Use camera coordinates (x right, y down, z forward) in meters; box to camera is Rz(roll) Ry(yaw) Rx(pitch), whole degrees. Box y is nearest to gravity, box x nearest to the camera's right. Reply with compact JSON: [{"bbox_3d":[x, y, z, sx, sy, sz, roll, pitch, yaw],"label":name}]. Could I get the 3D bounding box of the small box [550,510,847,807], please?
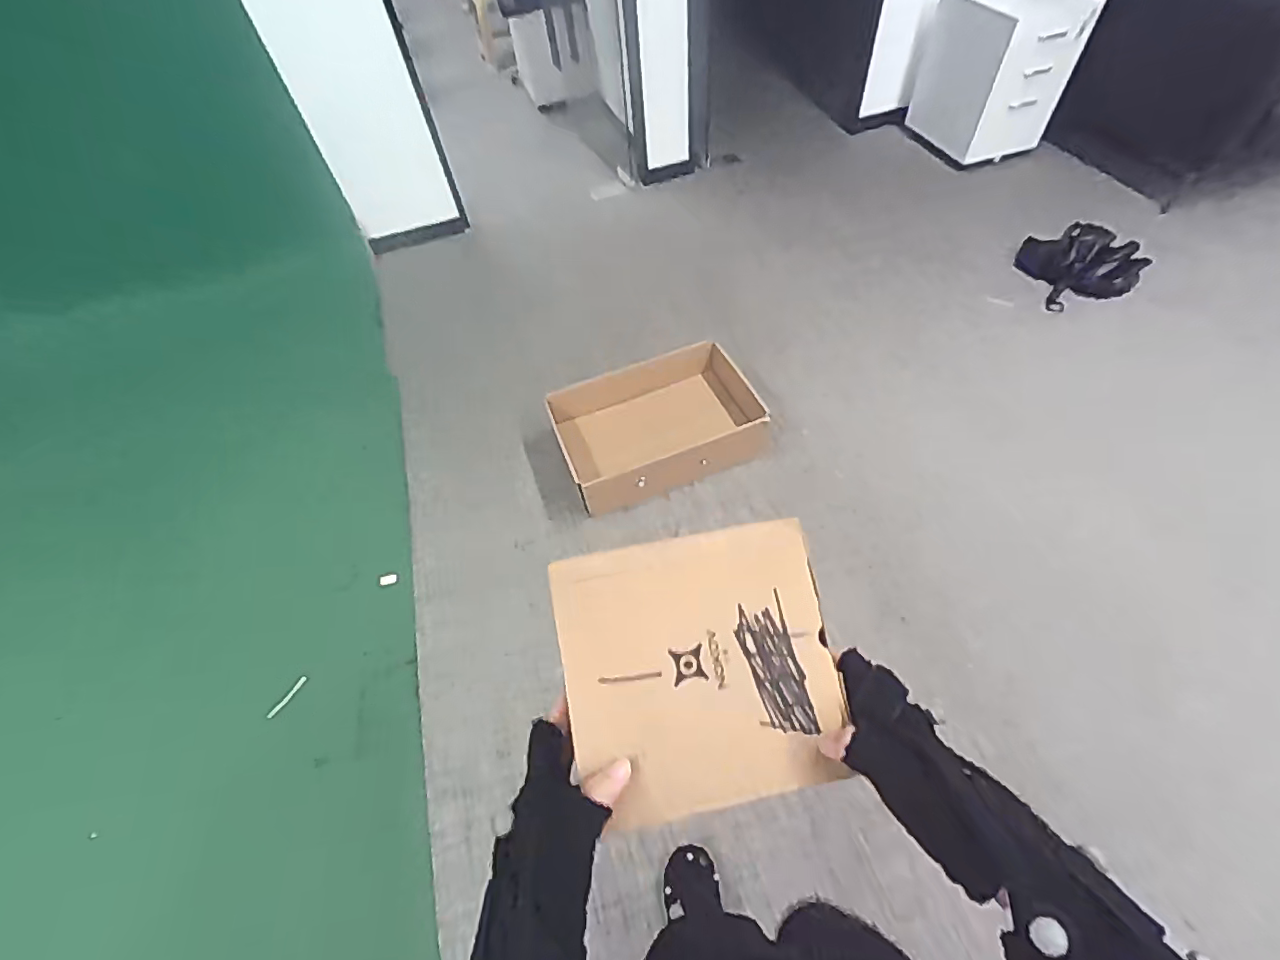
[{"bbox_3d":[0.032,0.129,0.435,0.179,0.176,0.168,-10,76,-4],"label":"small box"}]
